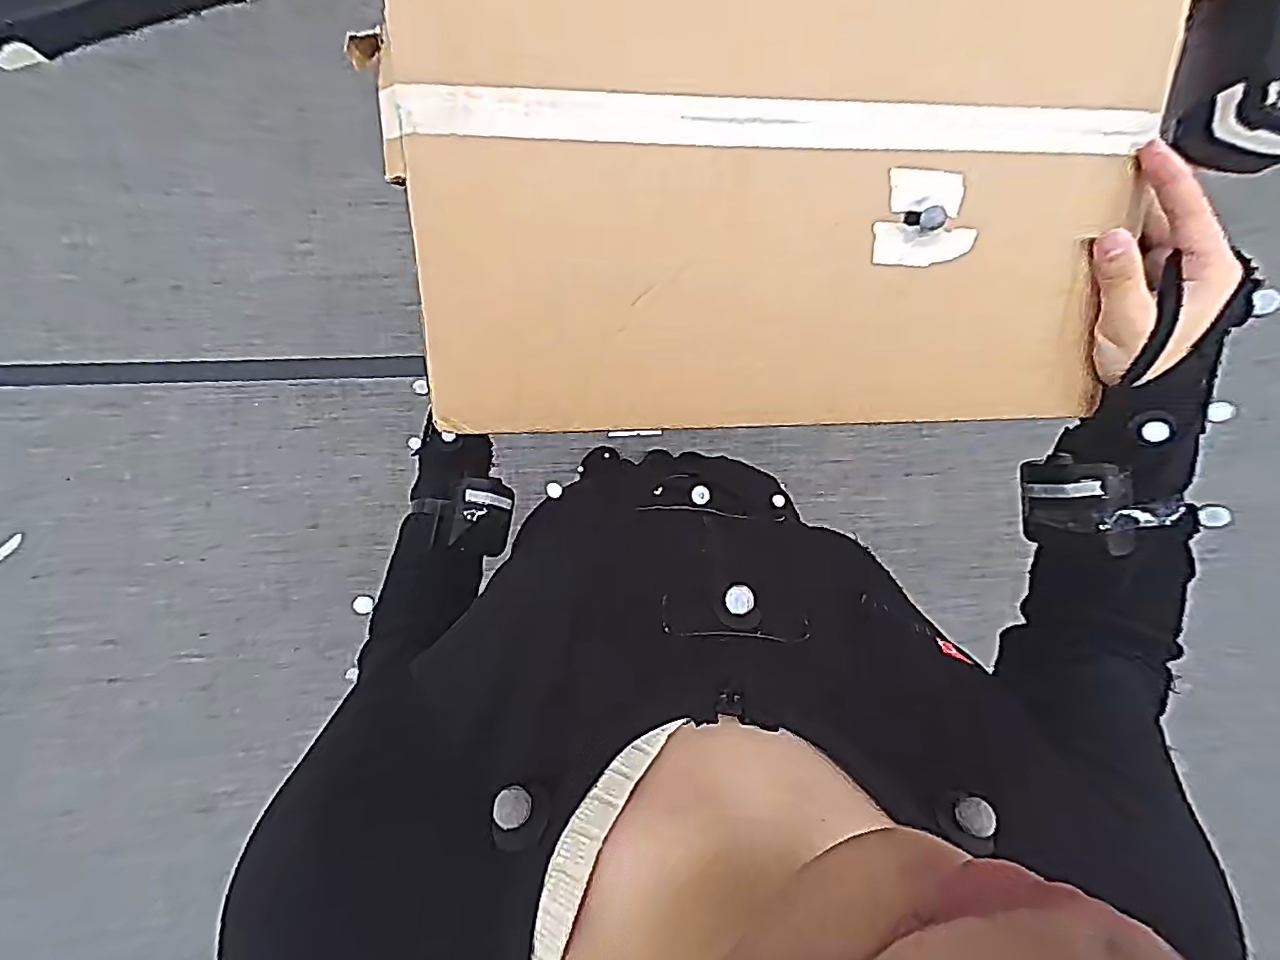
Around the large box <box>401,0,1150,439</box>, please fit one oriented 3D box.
[{"bbox_3d":[0.062,-0.221,0.435,0.408,0.320,0.320,-3,106,-8],"label":"large box"}]
